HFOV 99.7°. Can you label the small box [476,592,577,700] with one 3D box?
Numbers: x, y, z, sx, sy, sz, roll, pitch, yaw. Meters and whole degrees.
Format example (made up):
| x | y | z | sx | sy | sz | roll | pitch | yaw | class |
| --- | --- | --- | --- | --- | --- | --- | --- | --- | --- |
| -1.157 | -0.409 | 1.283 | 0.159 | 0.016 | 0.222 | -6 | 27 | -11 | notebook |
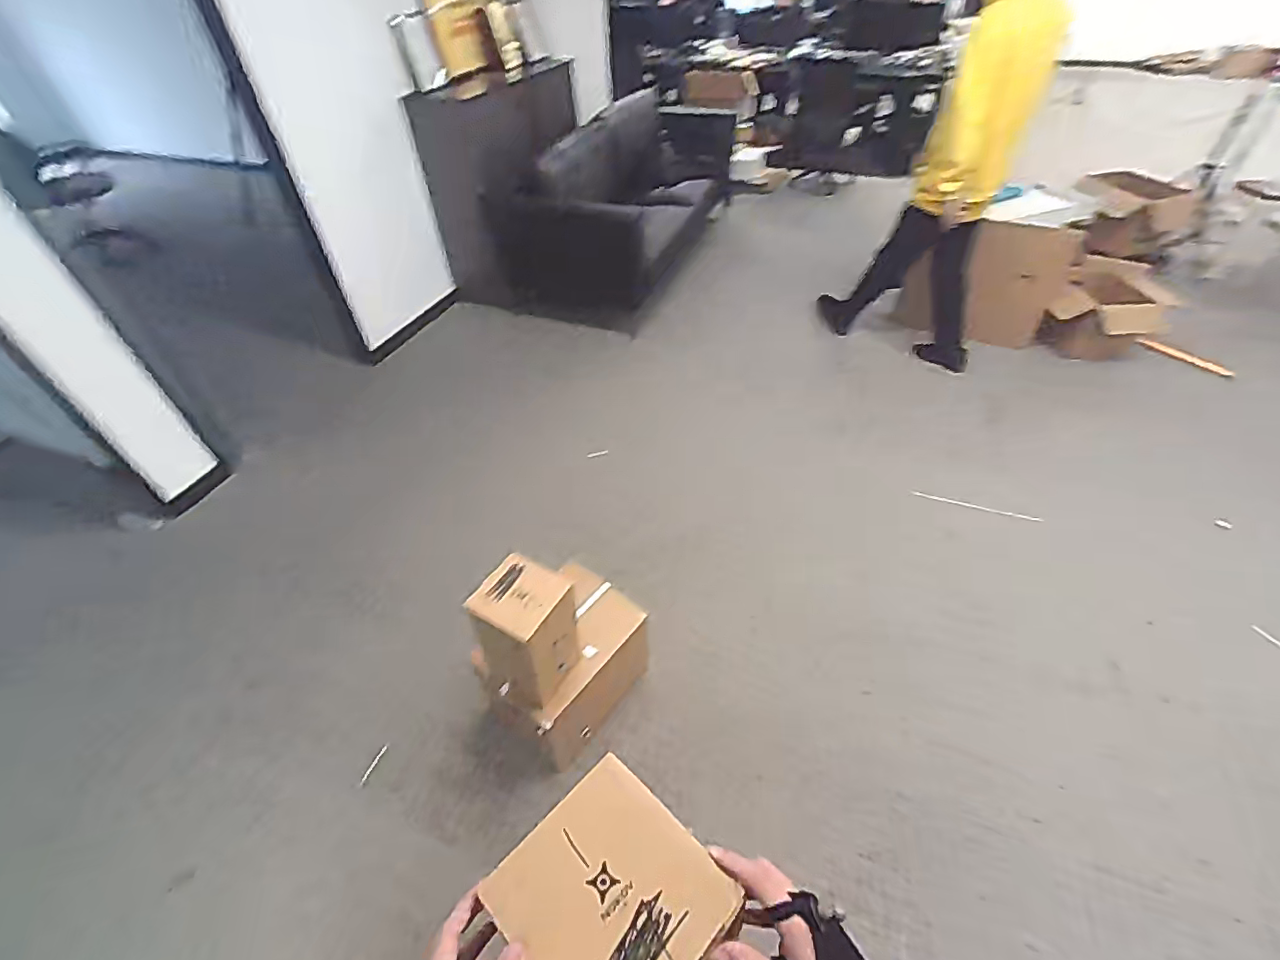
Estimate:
| x | y | z | sx | sy | sz | roll | pitch | yaw | class |
| --- | --- | --- | --- | --- | --- | --- | --- | --- | --- |
| -0.272 | 0.417 | 1.343 | 0.179 | 0.176 | 0.168 | 23 | 49 | 22 | small box |
